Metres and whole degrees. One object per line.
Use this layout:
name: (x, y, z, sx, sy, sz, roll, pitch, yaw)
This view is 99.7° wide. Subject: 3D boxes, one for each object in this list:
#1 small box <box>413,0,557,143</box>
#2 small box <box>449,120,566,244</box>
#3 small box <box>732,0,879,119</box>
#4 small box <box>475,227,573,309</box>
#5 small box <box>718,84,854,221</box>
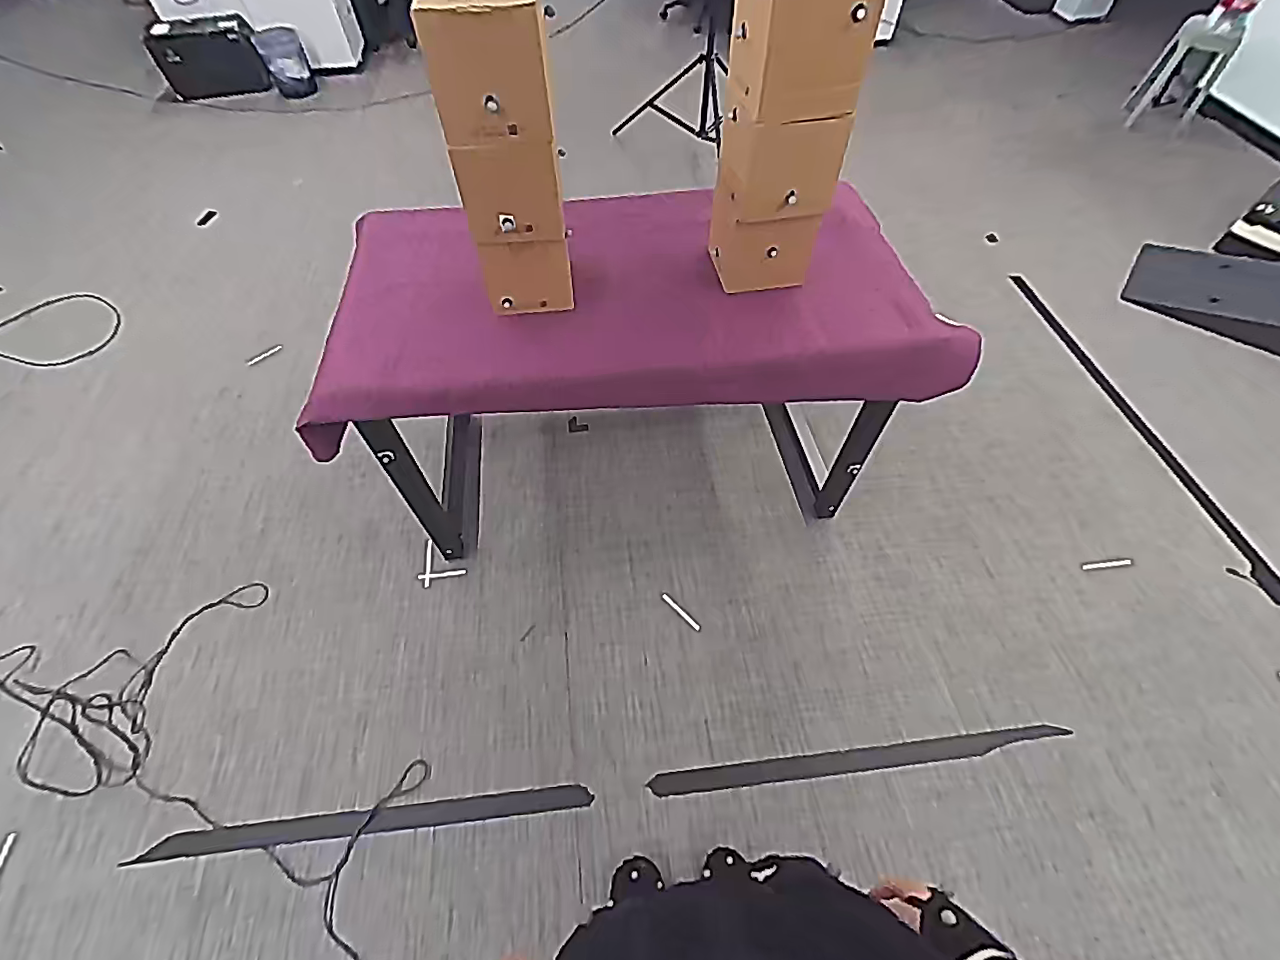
small box: (-0.220, -0.638, 0.818, 0.168, 0.176, 0.179, -4, 56, -2)
small box: (-0.224, -0.545, 0.954, 0.168, 0.176, 0.179, -6, 57, -3)
small box: (0.252, -0.701, 0.861, 0.179, 0.176, 0.168, -10, 56, -6)
small box: (-0.228, -0.464, 1.096, 0.168, 0.176, 0.179, -6, 55, -4)
small box: (0.255, -0.603, 0.991, 0.179, 0.176, 0.168, -10, 56, -7)
